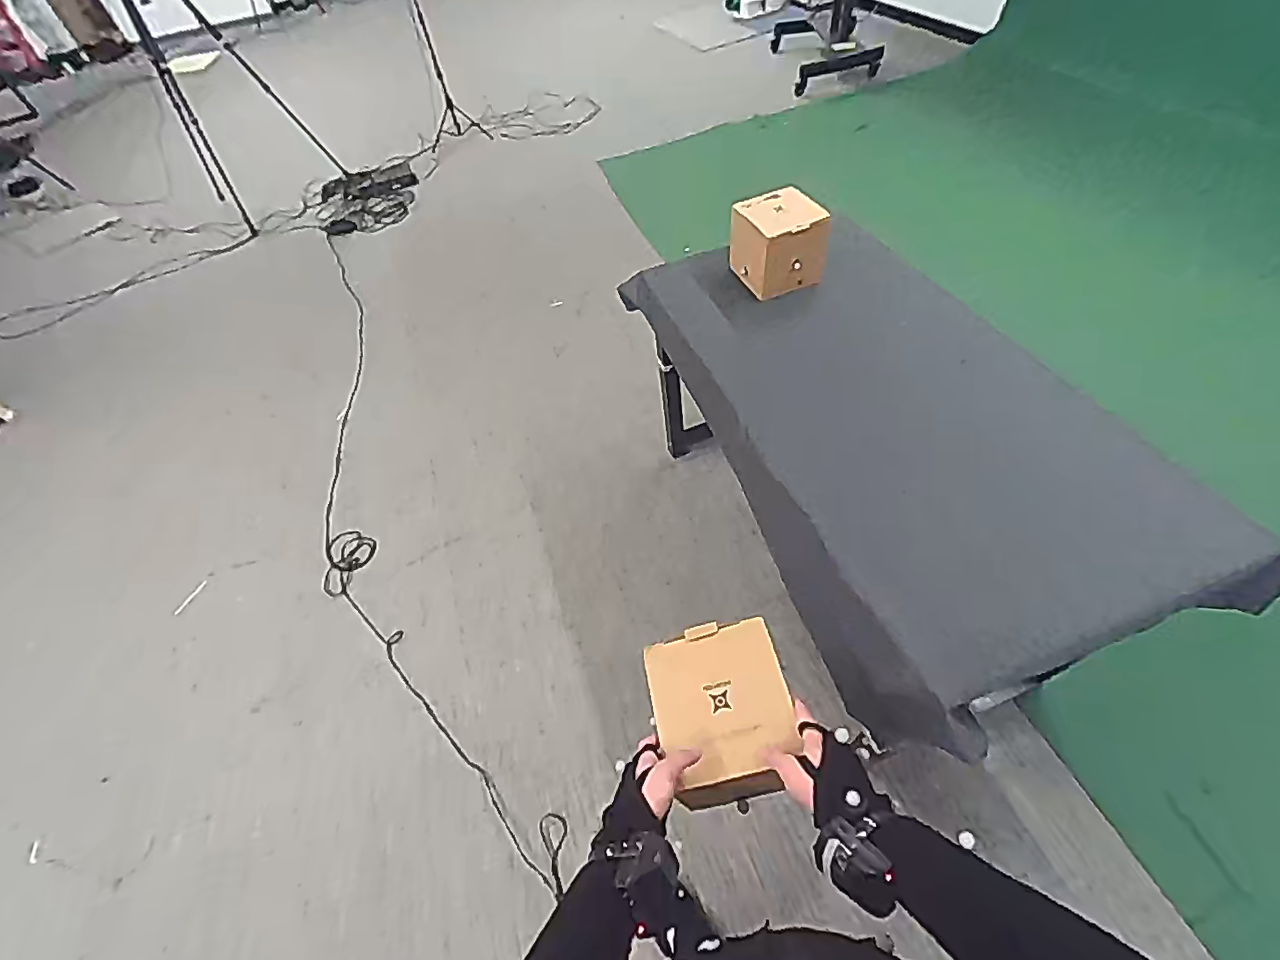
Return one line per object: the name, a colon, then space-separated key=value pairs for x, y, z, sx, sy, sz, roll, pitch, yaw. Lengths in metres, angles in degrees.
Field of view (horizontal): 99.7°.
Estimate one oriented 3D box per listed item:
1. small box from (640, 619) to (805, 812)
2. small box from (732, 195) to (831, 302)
small box: x=0.106 y=0.308 z=0.700 sx=0.168 sy=0.176 sz=0.179 roll=-15 pitch=50 yaw=7
small box: x=0.338 y=-0.558 z=1.324 sx=0.168 sy=0.176 sz=0.179 roll=-20 pitch=54 yaw=-8
